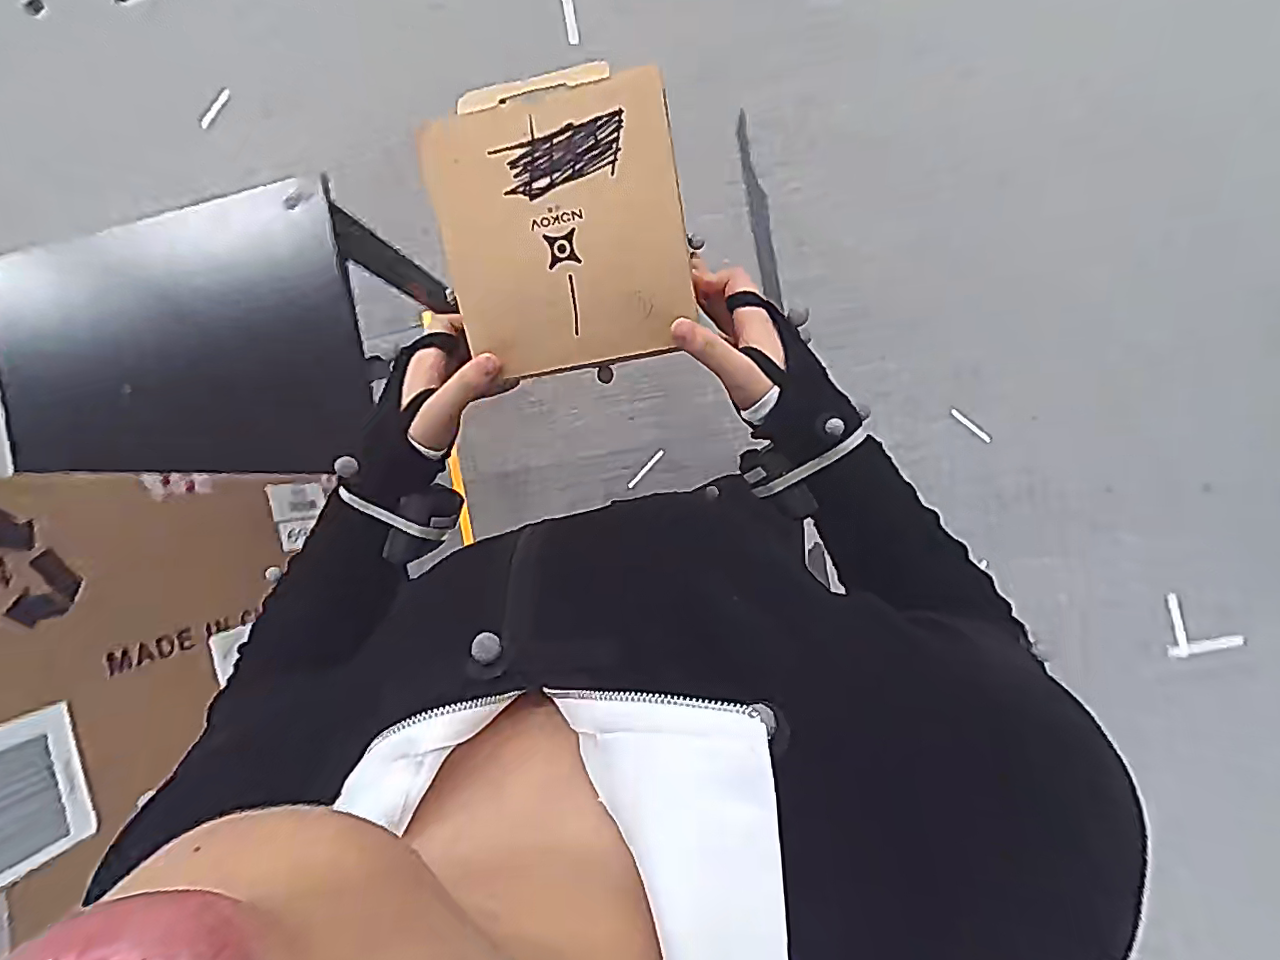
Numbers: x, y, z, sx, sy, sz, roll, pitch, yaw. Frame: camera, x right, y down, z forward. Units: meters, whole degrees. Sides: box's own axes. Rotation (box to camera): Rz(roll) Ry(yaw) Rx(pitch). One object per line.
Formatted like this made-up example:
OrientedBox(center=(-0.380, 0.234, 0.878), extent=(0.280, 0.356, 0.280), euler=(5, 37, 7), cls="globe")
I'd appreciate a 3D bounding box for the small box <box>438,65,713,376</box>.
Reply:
OrientedBox(center=(-0.036, -0.184, 0.439), extent=(0.168, 0.176, 0.179), euler=(-7, 103, 6), cls="small box")
